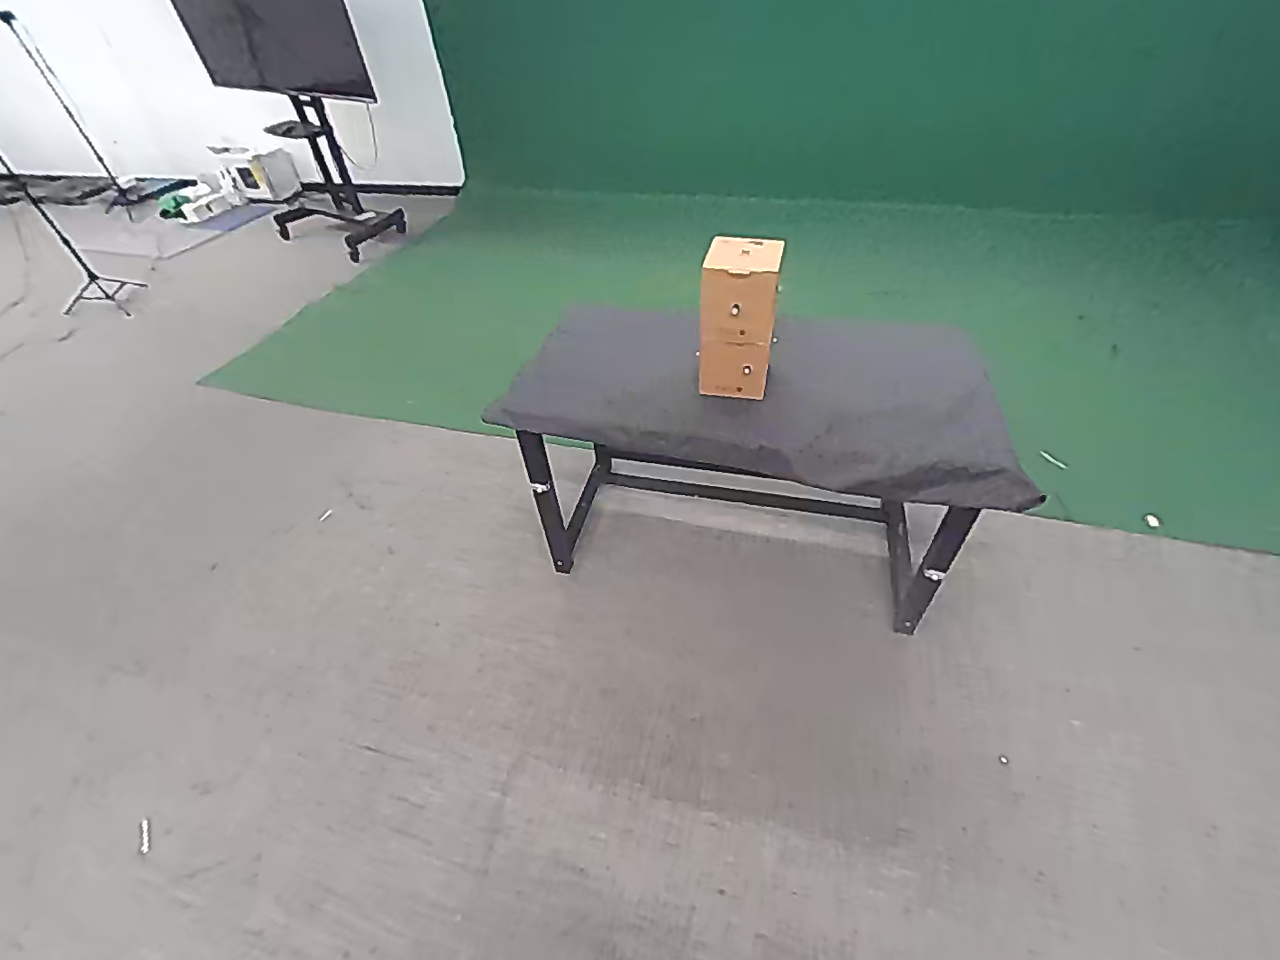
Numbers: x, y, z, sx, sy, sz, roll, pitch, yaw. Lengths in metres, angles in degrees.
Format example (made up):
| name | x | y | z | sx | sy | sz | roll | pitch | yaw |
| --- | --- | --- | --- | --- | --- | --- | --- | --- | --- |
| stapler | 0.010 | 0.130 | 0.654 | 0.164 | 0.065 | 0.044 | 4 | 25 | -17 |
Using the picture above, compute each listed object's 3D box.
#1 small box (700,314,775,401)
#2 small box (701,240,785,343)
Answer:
| name | x | y | z | sx | sy | sz | roll | pitch | yaw |
| --- | --- | --- | --- | --- | --- | --- | --- | --- | --- |
| small box | 0.248 | -0.323 | 1.388 | 0.168 | 0.176 | 0.179 | 9 | 45 | 11 |
| small box | 0.240 | -0.443 | 1.276 | 0.168 | 0.176 | 0.179 | 10 | 48 | 12 |
